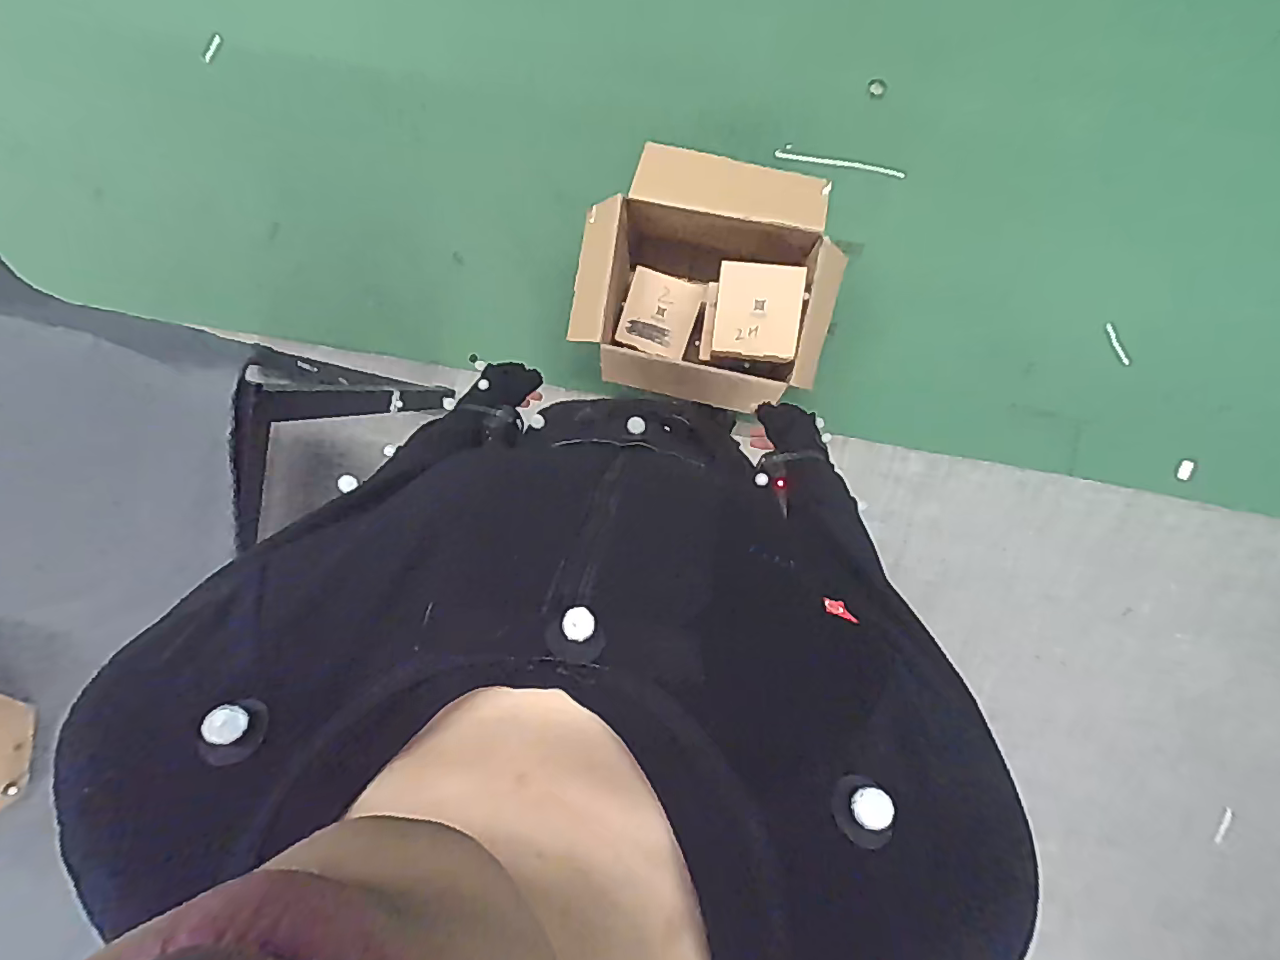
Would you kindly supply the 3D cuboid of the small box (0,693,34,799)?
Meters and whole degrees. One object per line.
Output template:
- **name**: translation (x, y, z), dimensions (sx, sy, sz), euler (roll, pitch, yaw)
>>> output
- **small box**: translation (-1.064, 0.417, 0.793), dimensions (0.179, 0.176, 0.168), euler (17, 100, 1)
